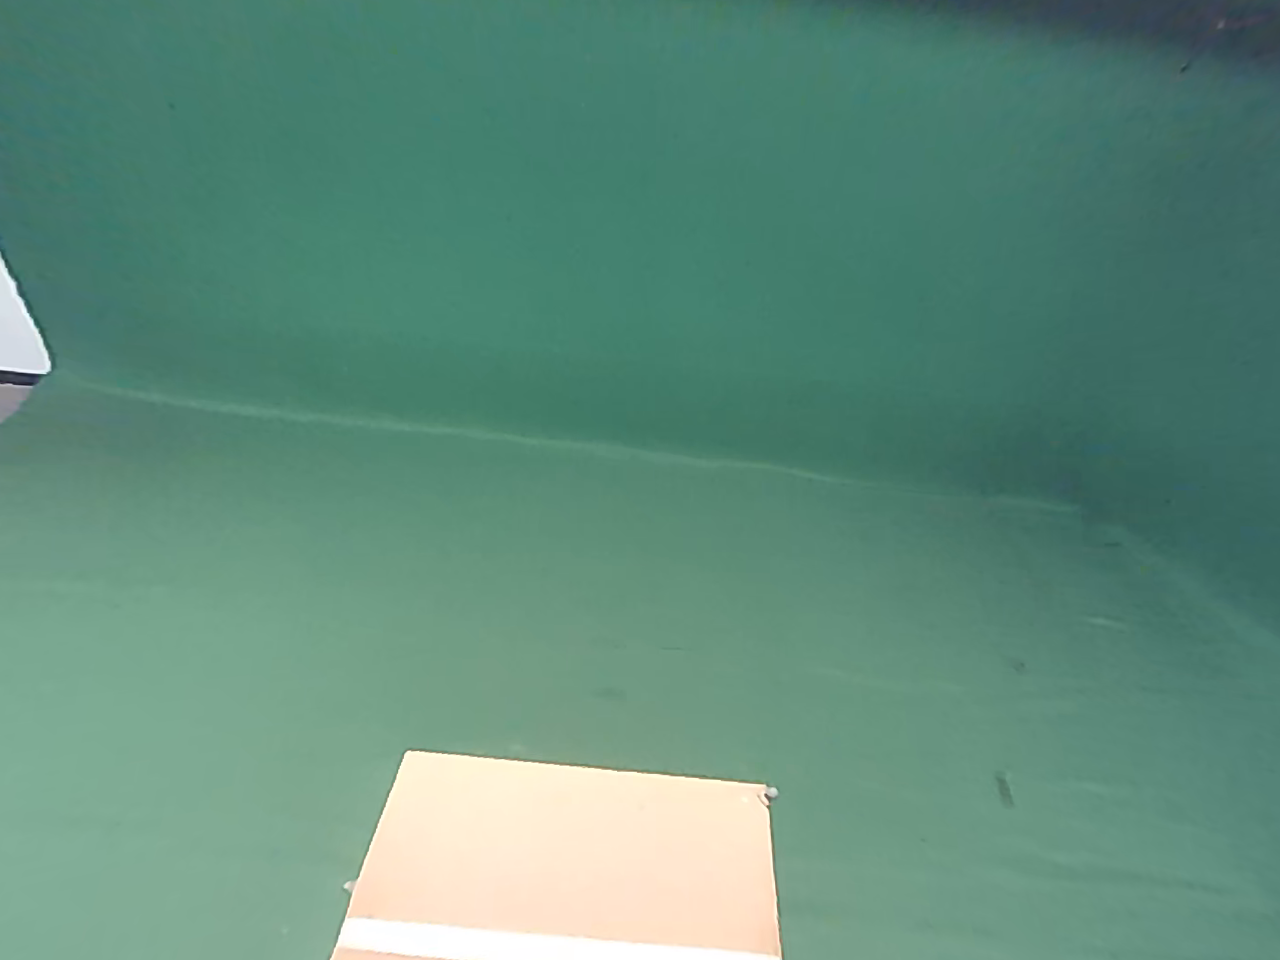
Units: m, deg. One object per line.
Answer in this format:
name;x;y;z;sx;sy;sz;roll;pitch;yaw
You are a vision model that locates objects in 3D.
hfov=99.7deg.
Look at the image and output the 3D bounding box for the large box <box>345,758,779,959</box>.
large box;-0.079;0.541;0.602;0.408;0.320;0.320;5;45;-1
